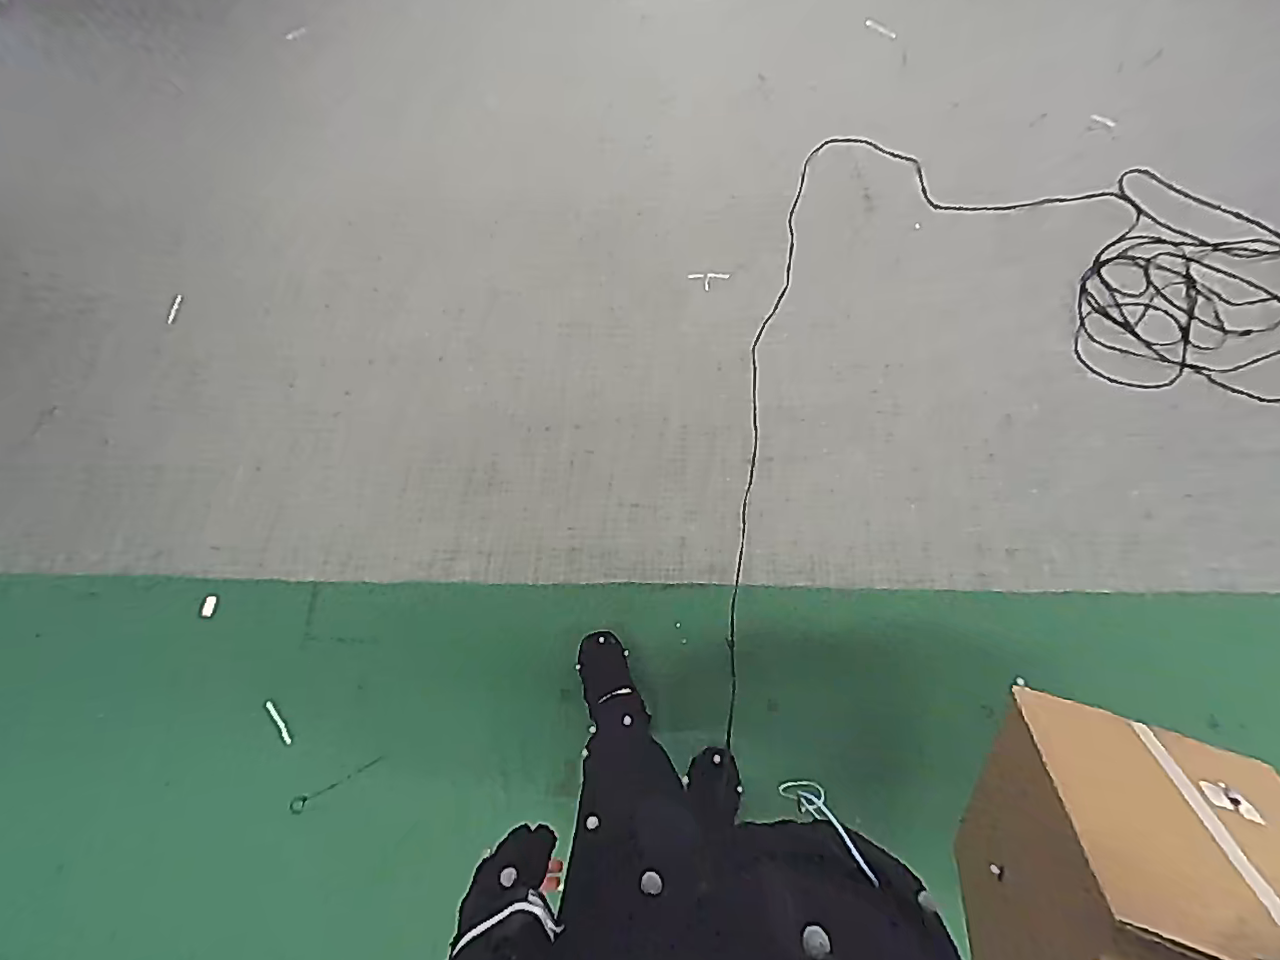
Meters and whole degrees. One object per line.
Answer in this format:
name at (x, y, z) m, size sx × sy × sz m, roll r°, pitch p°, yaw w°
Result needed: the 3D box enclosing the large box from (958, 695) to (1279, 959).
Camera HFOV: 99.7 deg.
large box at (0.619, 0.544, 0.646) m, size 0.320 × 0.408 × 0.320 m, roll 15°, pitch 105°, yaw 19°
